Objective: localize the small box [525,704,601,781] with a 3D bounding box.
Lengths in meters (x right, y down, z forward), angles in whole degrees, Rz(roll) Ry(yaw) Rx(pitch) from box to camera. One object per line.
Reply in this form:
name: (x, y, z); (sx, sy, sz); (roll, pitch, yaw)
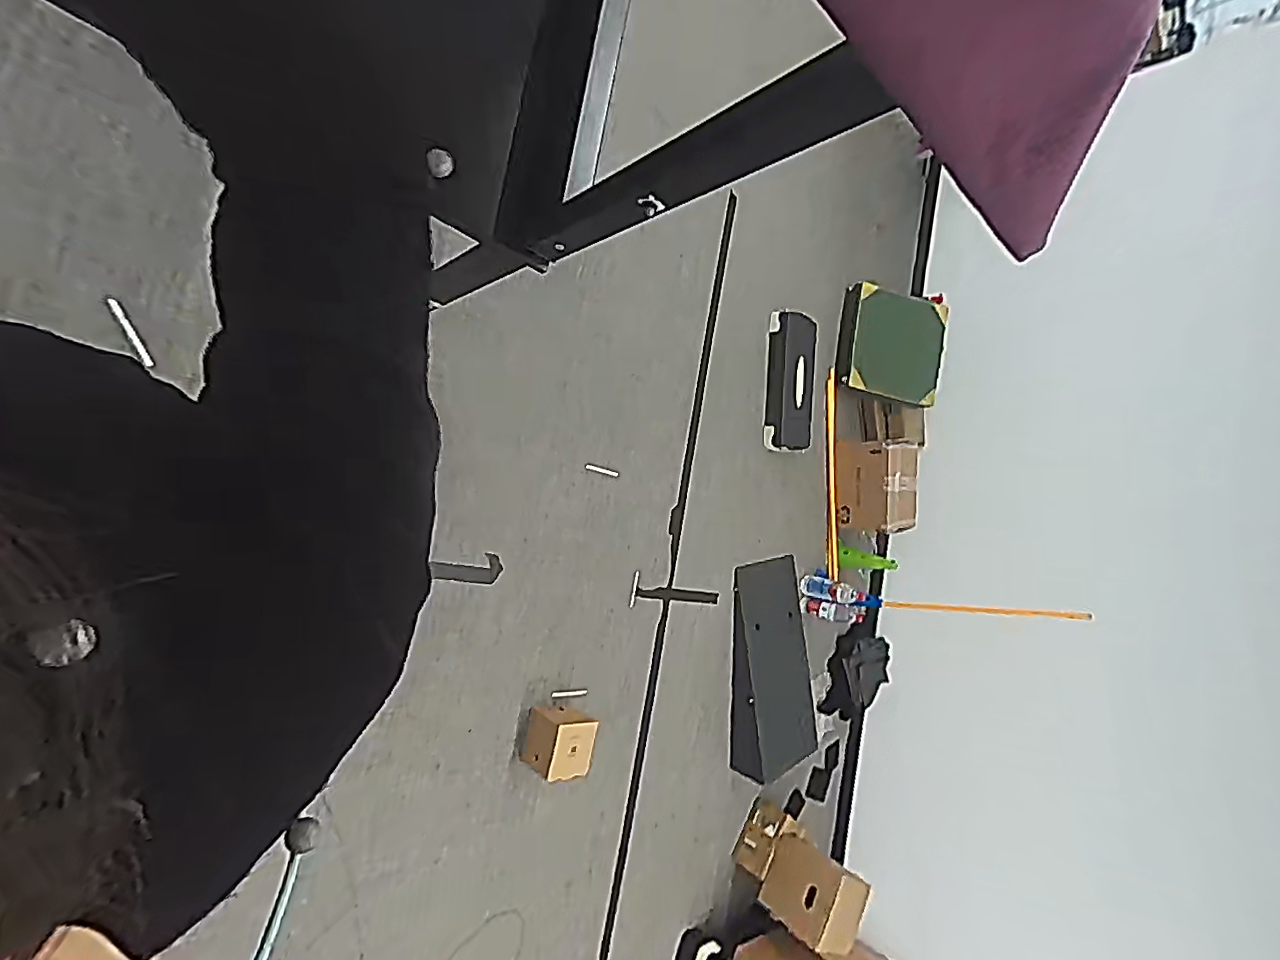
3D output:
small box: (-0.260, 0.863, 1.791); (0.168, 0.176, 0.179); (19, 80, -43)
